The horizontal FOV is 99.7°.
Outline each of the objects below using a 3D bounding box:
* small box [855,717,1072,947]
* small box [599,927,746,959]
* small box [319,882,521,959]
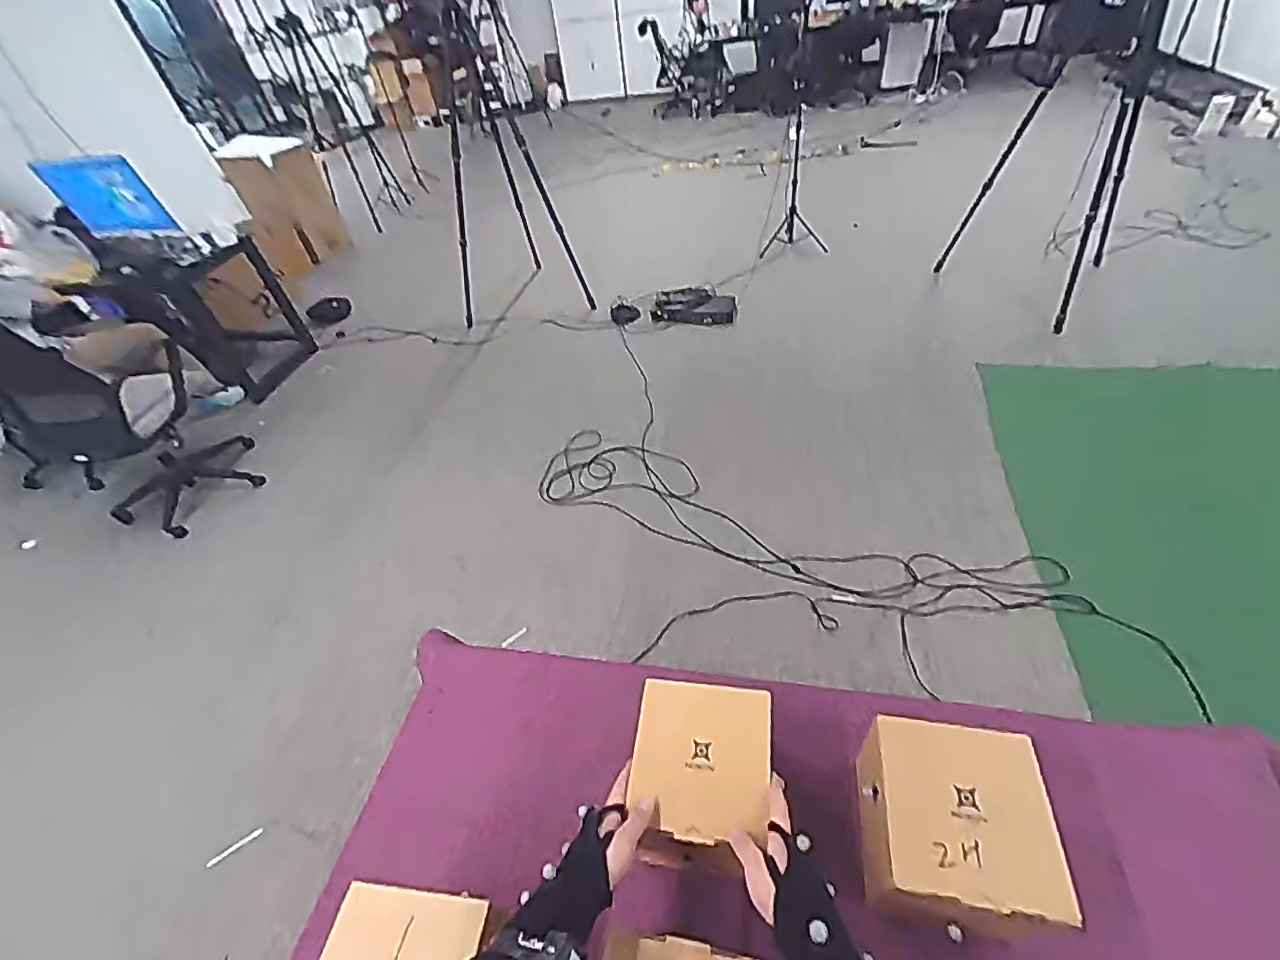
[{"bbox_3d":[0.353,0.410,0.634,0.168,0.176,0.179,3,46,14],"label":"small box"},{"bbox_3d":[0.036,0.577,0.529,0.168,0.176,0.179,2,46,14],"label":"small box"},{"bbox_3d":[-0.245,0.571,0.586,0.168,0.176,0.179,0,43,11],"label":"small box"}]
